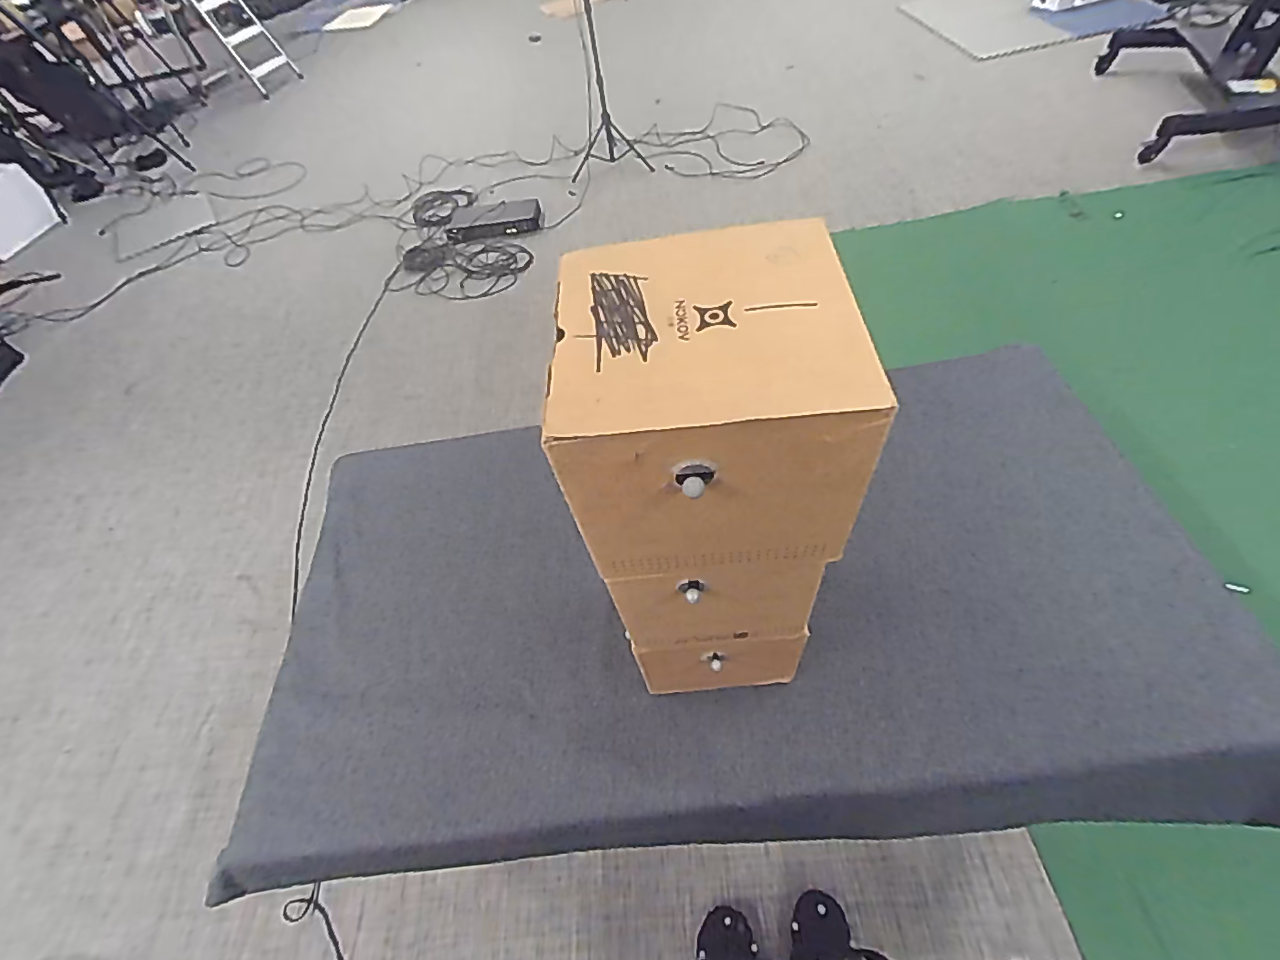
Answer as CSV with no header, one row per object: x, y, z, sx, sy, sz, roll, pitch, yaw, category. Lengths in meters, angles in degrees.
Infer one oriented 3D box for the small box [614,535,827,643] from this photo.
0.064,0.040,0.525,0.168,0.176,0.179,-8,55,3,small box

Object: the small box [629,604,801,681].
0.083,0.135,0.654,0.179,0.176,0.168,-7,55,4,small box

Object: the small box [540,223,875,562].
0.042,-0.051,0.386,0.179,0.176,0.168,-5,55,5,small box
